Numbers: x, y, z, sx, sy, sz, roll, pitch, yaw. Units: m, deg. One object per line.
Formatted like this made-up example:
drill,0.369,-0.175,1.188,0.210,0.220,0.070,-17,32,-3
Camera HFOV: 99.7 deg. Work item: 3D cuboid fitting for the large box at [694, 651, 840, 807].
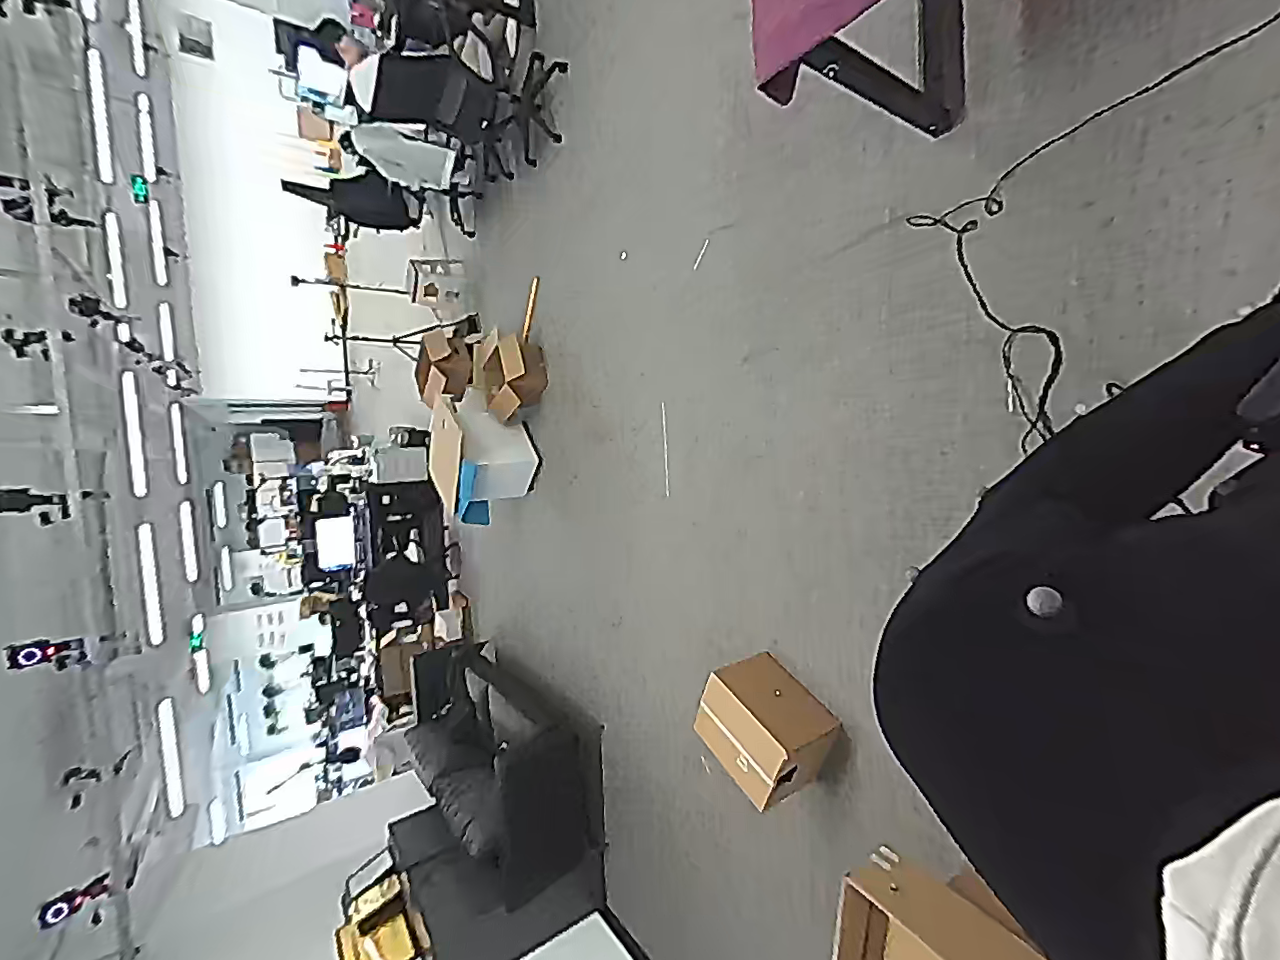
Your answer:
large box,0.479,0.935,2.088,0.408,0.320,0.320,38,125,45
